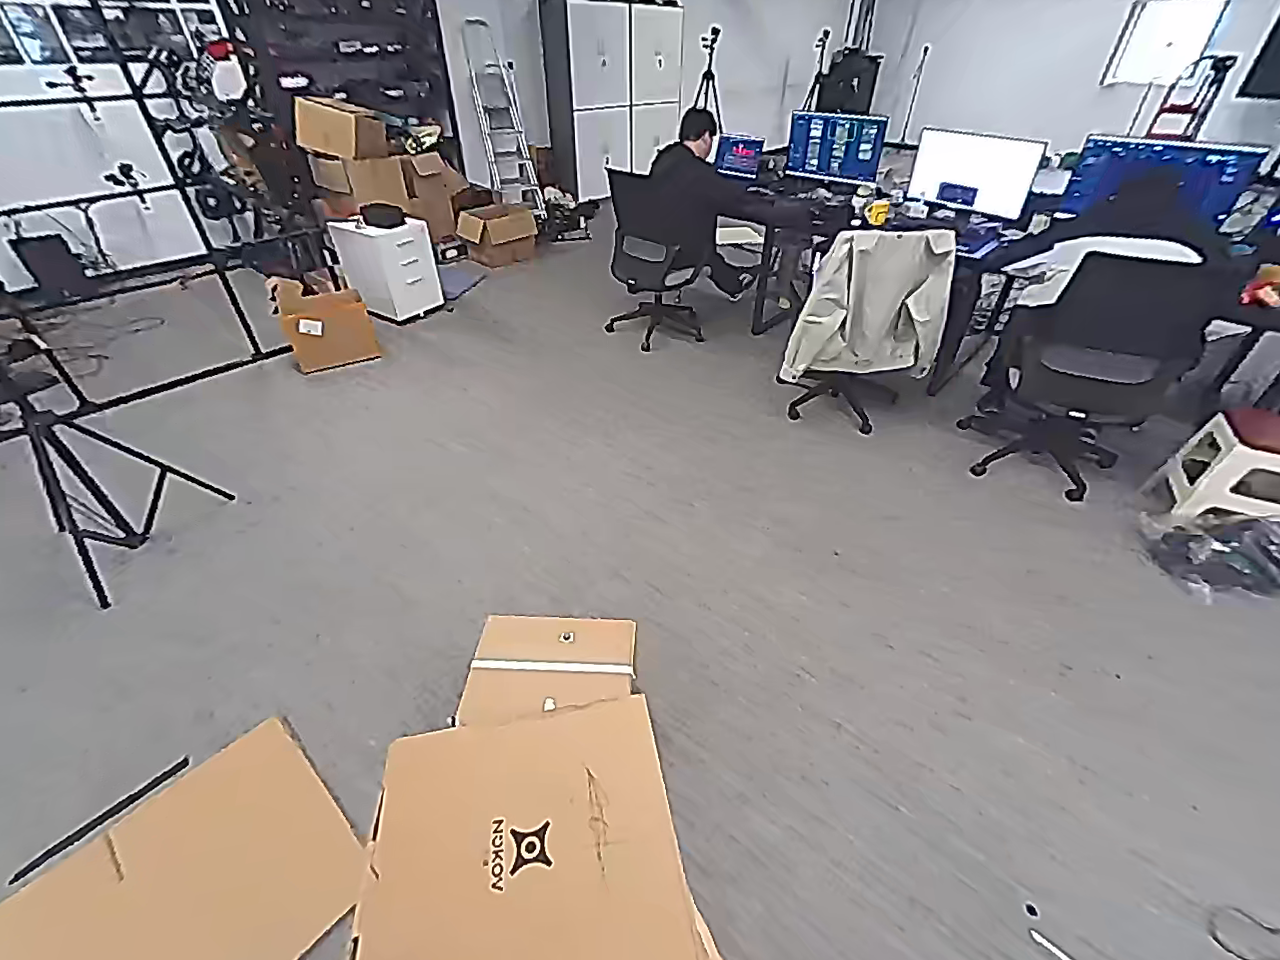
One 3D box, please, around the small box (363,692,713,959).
[{"bbox_3d":[-0.060,0.274,0.357,0.179,0.176,0.168,-7,38,-9],"label":"small box"}]
